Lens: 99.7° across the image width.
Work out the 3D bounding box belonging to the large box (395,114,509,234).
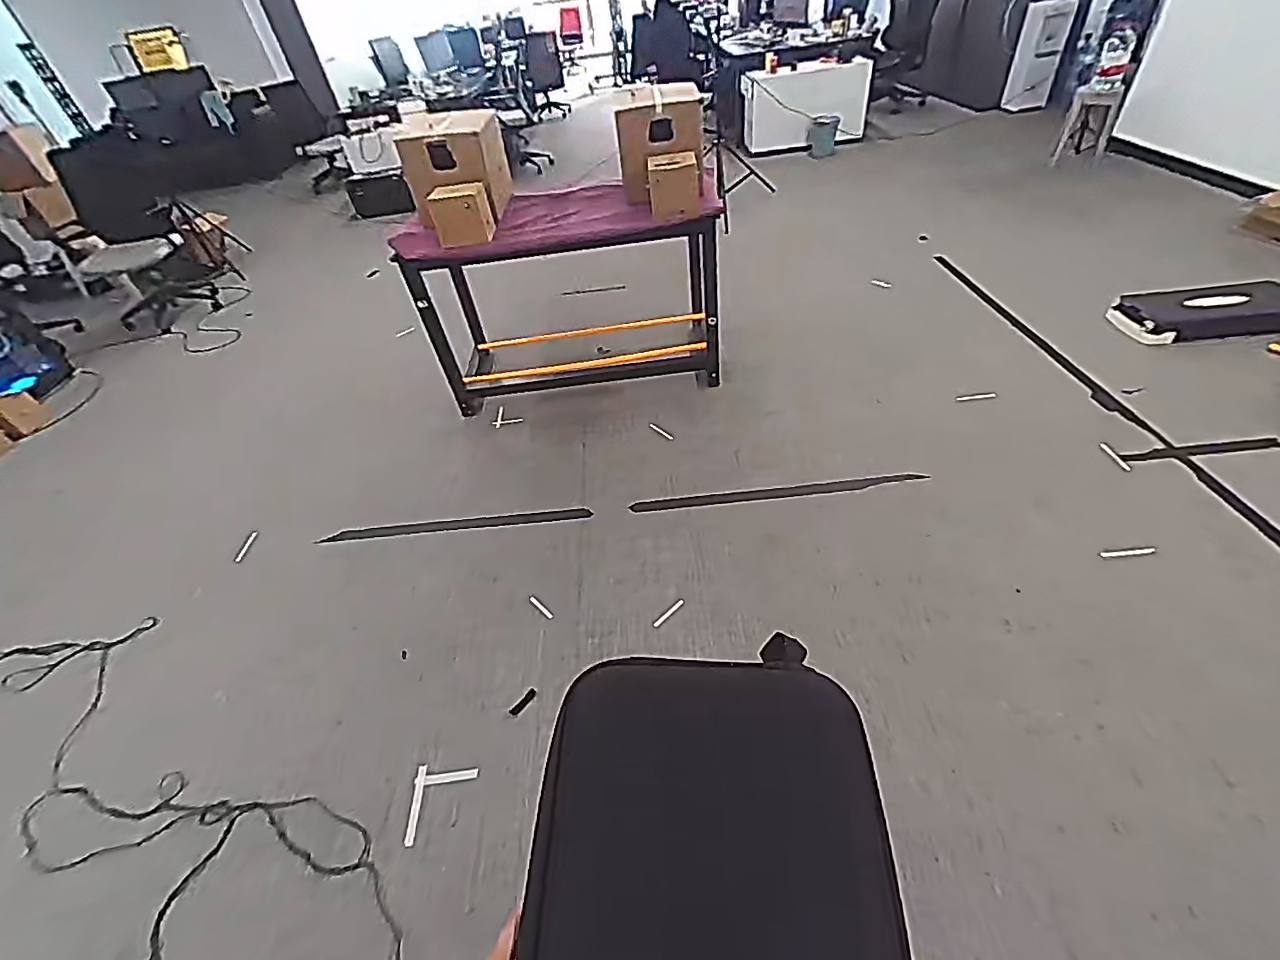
[{"bbox_3d":[-0.732,-1.237,2.178,0.320,0.320,0.408,-6,46,2],"label":"large box"}]

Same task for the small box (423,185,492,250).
[{"bbox_3d":[-0.659,-0.955,1.973,0.179,0.176,0.168,-7,42,1],"label":"small box"}]
